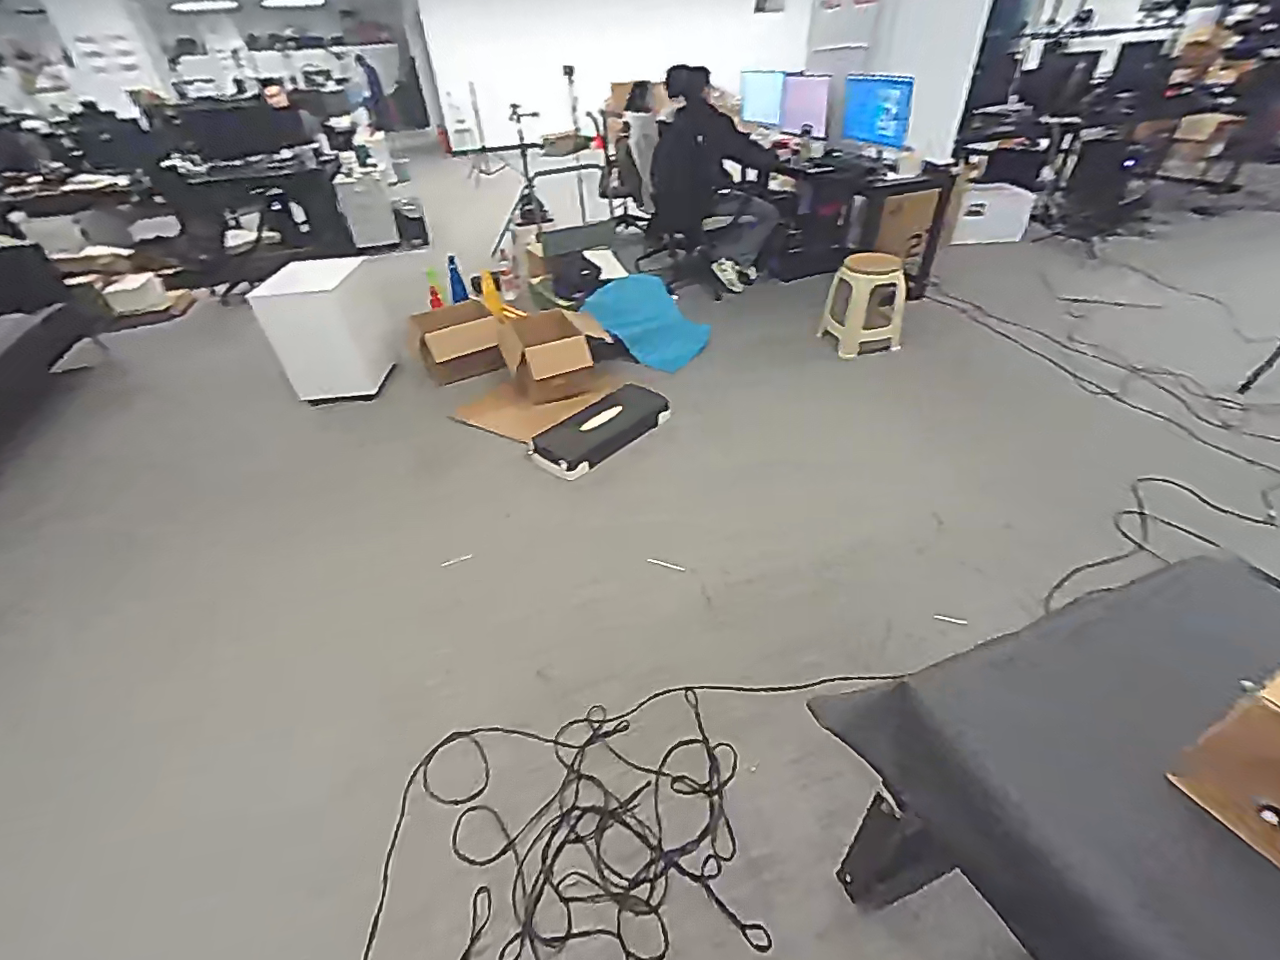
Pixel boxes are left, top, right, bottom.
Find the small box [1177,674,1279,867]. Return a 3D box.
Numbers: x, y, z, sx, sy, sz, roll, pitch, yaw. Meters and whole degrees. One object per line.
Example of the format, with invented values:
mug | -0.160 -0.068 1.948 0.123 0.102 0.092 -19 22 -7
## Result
small box | 0.690 0.279 0.520 0.179 0.176 0.168 -20 42 -19
